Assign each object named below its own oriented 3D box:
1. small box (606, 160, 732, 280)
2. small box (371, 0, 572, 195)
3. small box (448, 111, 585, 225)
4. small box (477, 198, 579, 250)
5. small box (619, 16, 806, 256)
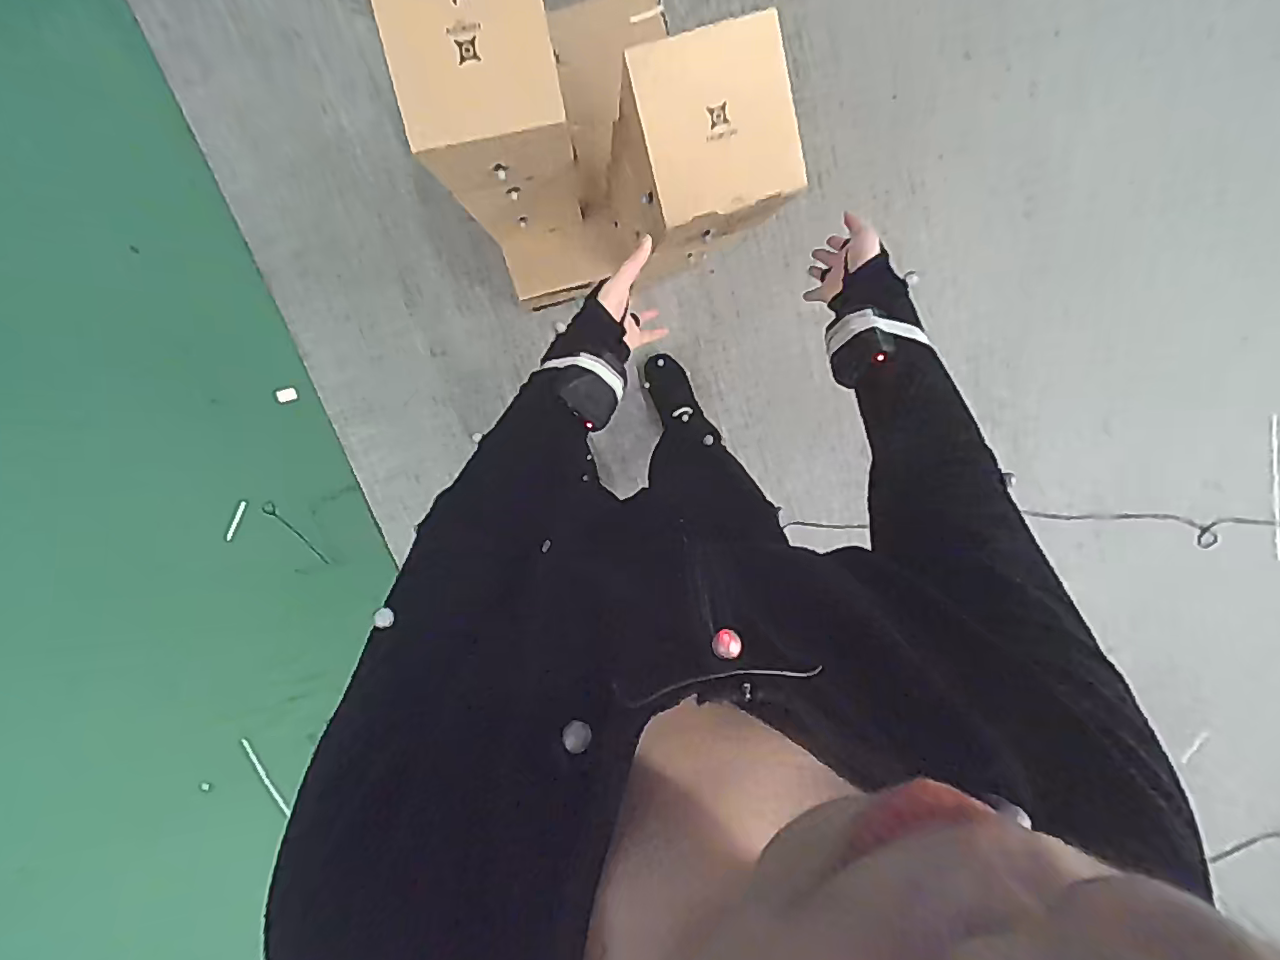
[{"bbox_3d":[0.044,-0.473,0.966,0.179,0.176,0.168,-18,103,0],"label":"small box"},{"bbox_3d":[-0.177,-0.446,0.618,0.168,0.176,0.179,-11,103,-1],"label":"small box"},{"bbox_3d":[-0.190,-0.488,0.775,0.179,0.176,0.168,-17,103,3],"label":"small box"},{"bbox_3d":[-0.209,-0.525,0.937,0.168,0.176,0.179,-17,102,0],"label":"small box"},{"bbox_3d":[0.075,-0.392,0.651,0.168,0.176,0.179,-17,104,-1],"label":"small box"}]
